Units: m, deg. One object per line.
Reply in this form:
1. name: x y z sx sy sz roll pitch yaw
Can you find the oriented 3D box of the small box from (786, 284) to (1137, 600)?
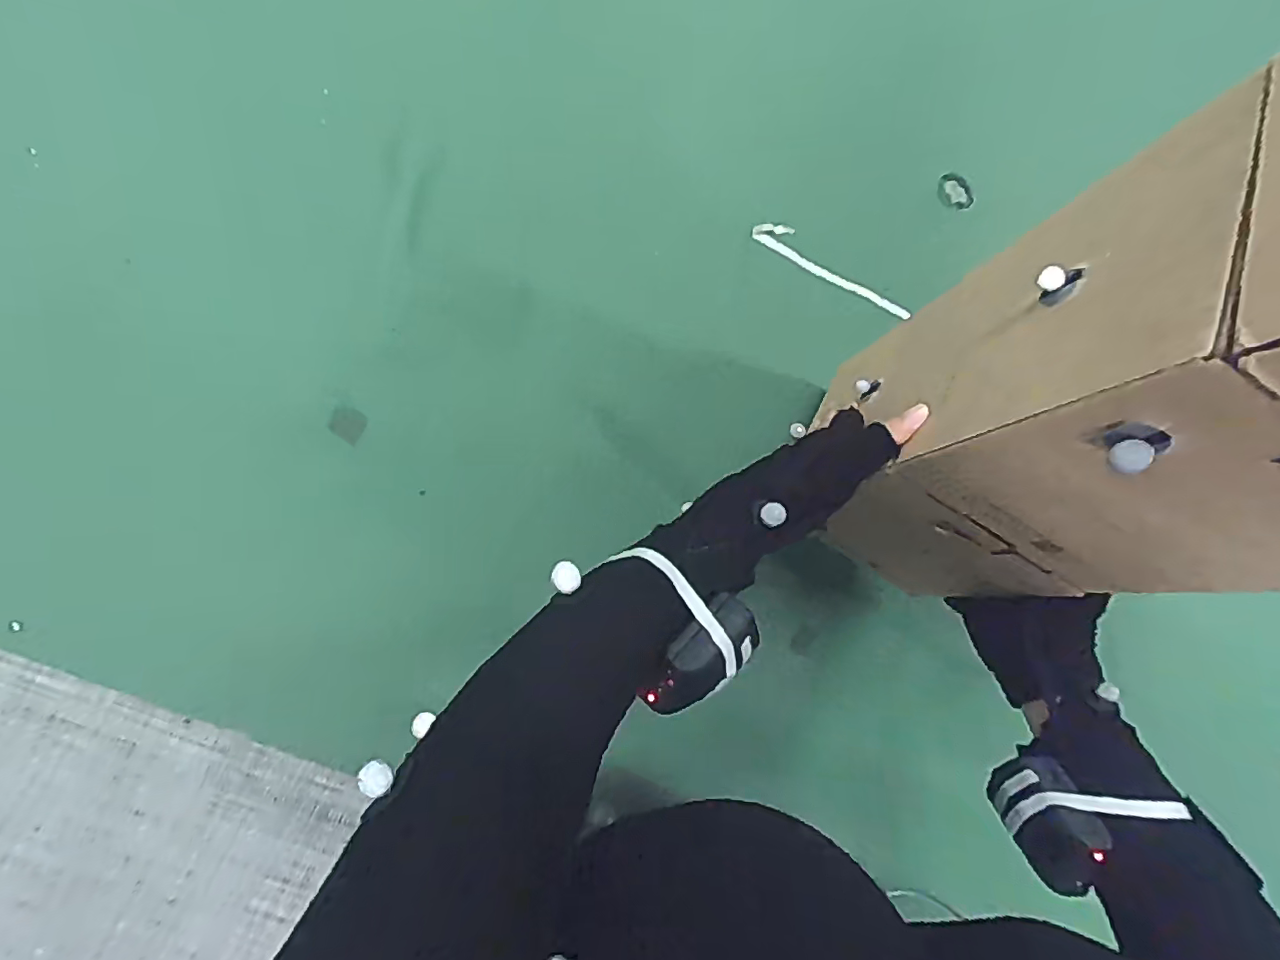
1. small box: 0.249 -0.016 0.455 0.168 0.176 0.179 29 75 -7
